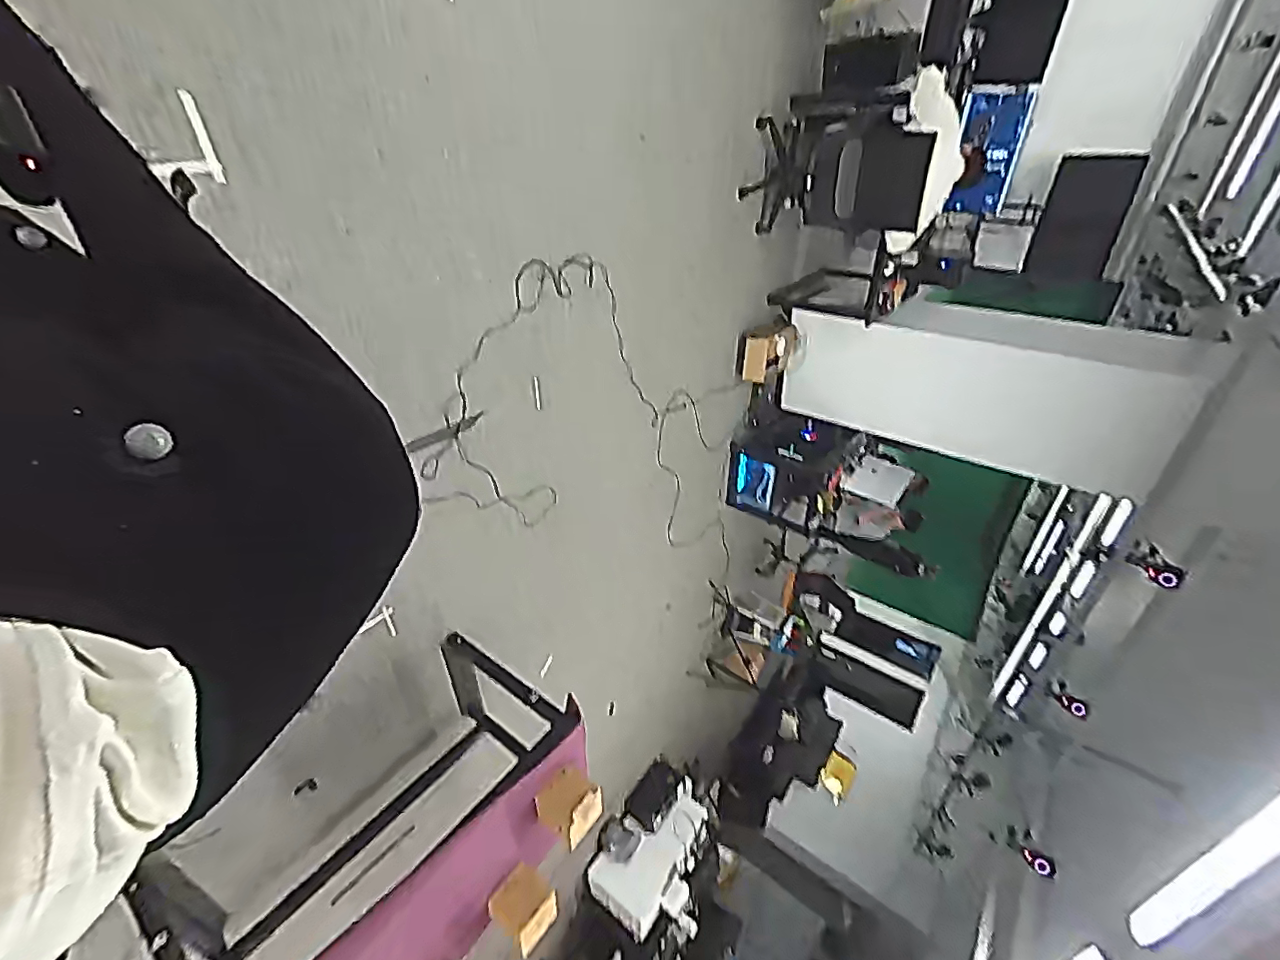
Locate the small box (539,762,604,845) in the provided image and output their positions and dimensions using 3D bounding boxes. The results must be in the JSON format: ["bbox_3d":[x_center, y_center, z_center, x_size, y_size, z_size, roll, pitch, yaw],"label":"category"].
[{"bbox_3d":[-0.251,1.165,1.962,0.168,0.176,0.179,-37,139,-41],"label":"small box"}]

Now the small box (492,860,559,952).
[{"bbox_3d":[-0.409,1.518,1.936,0.168,0.176,0.179,-33,135,-43],"label":"small box"}]
